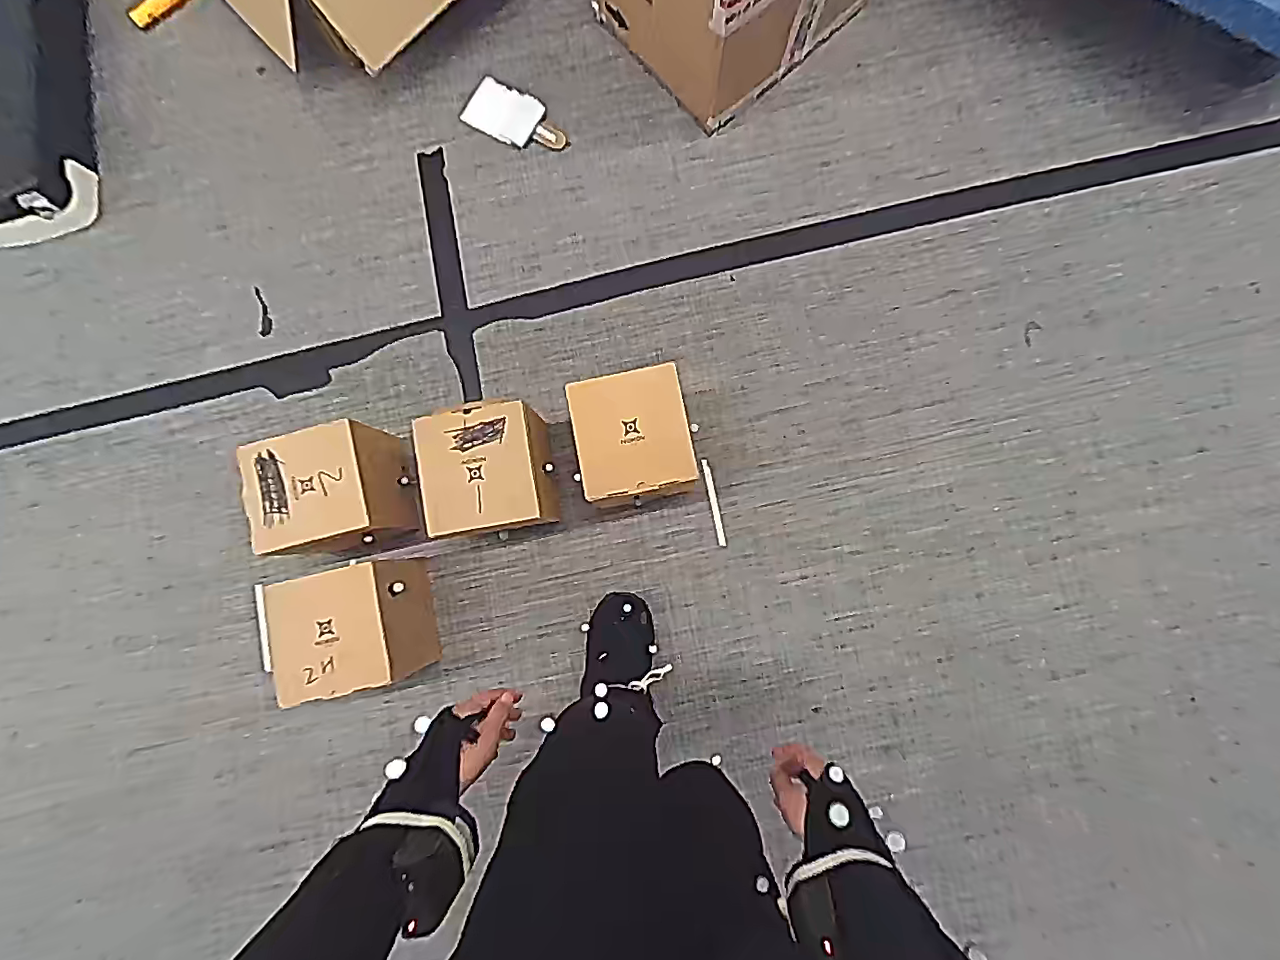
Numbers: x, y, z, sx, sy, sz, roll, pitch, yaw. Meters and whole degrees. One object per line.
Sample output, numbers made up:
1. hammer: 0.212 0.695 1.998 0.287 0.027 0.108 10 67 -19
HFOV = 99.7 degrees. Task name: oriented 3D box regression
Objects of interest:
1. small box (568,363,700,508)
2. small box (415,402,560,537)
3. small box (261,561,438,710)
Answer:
1. small box: -0.009 -0.060 0.846 0.168 0.176 0.179 -12 84 1
2. small box: -0.229 -0.007 0.846 0.168 0.176 0.179 -10 84 1
3. small box: -0.432 0.225 0.827 0.168 0.176 0.179 -13 84 1
